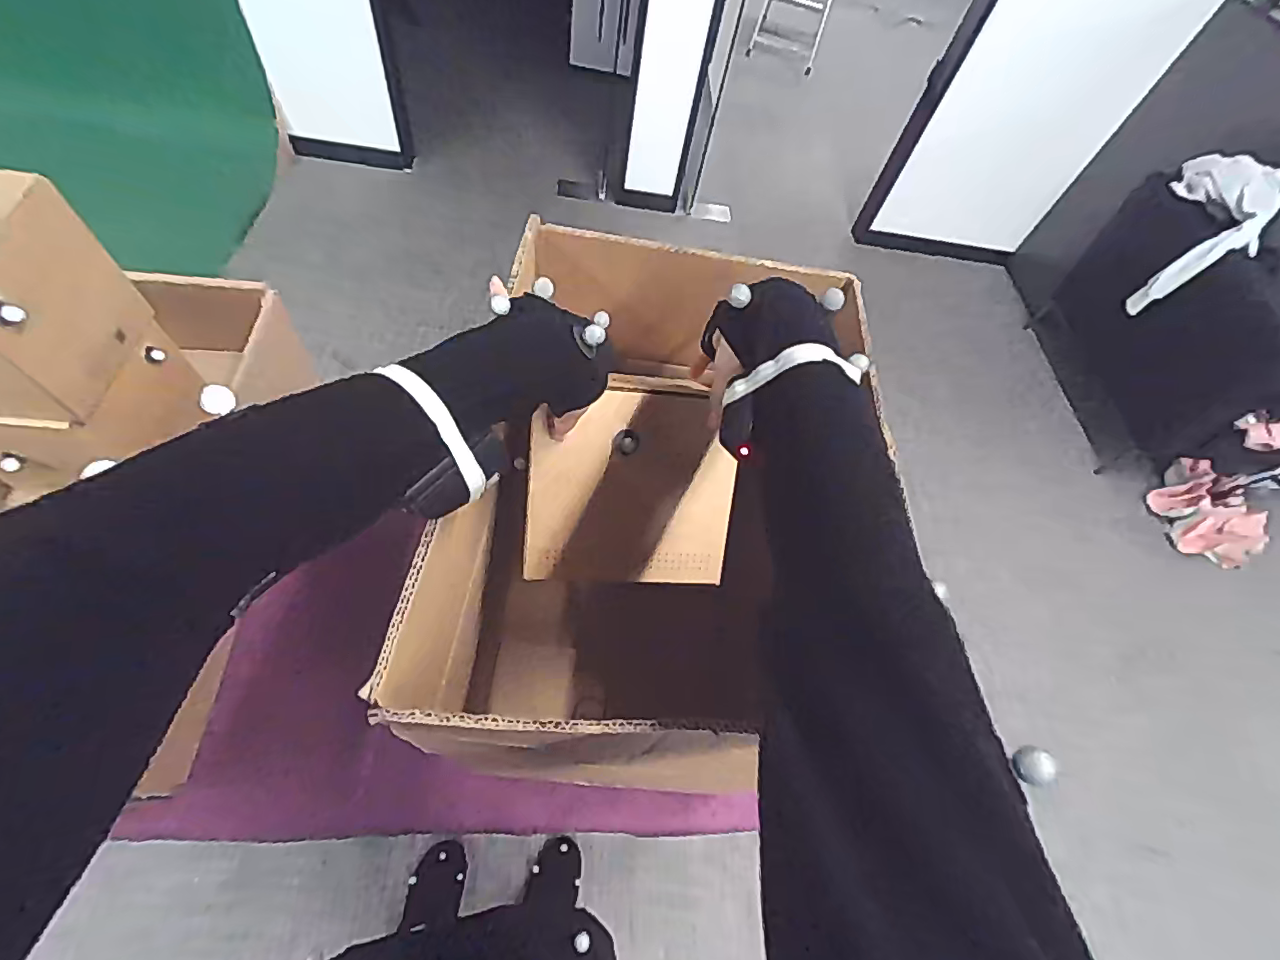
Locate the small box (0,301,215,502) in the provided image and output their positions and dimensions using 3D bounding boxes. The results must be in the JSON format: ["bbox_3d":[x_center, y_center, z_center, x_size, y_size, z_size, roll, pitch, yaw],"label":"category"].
[{"bbox_3d":[-0.677,-0.088,0.664,0.168,0.176,0.179,5,58,-6],"label":"small box"}]
